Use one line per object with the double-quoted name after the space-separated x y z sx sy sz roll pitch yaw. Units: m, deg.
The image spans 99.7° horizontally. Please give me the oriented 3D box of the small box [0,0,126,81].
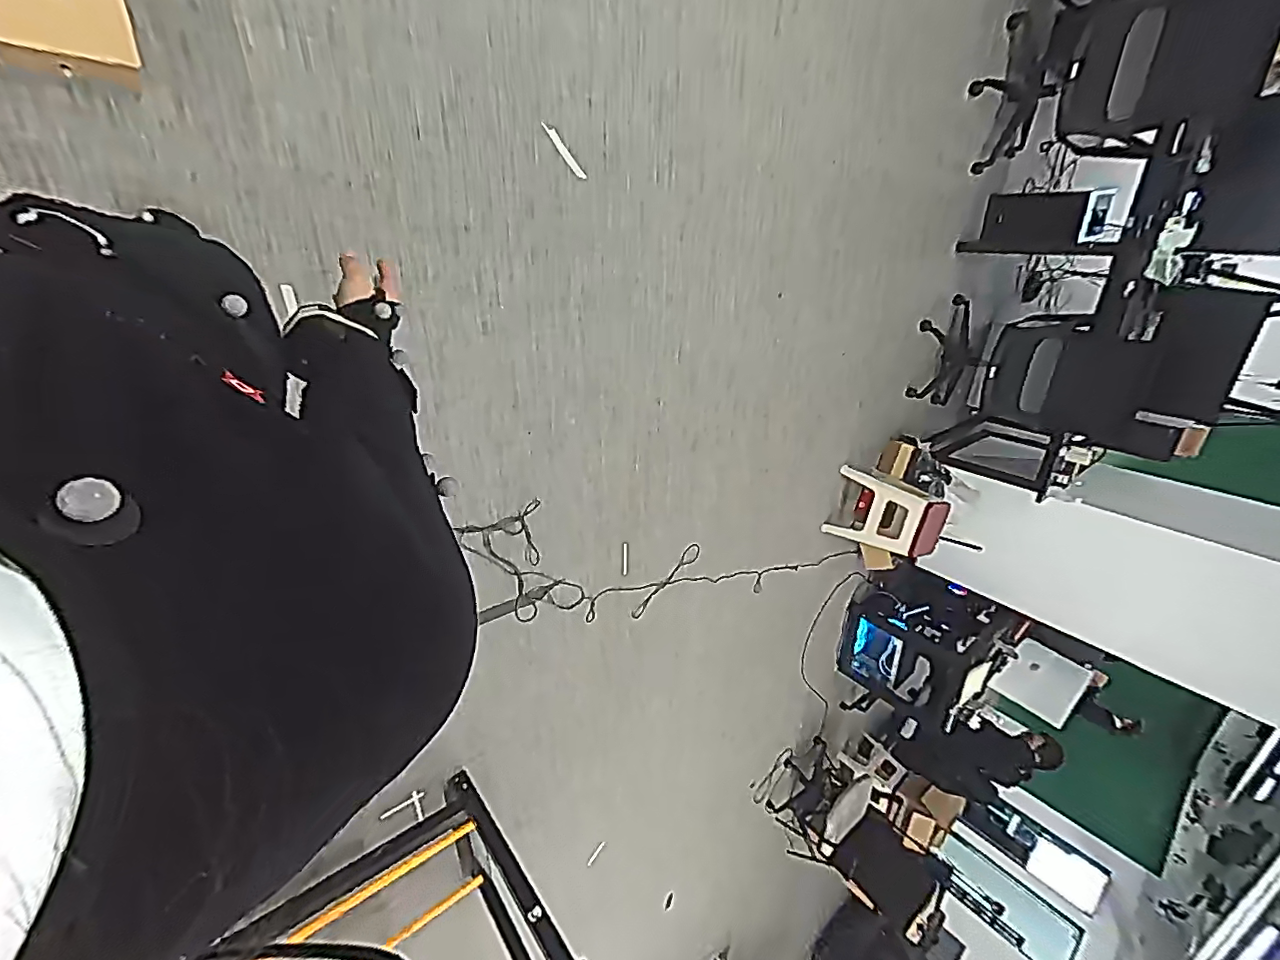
-0.861 -0.698 0.767 0.168 0.176 0.179 -15 119 -38 "small box"
